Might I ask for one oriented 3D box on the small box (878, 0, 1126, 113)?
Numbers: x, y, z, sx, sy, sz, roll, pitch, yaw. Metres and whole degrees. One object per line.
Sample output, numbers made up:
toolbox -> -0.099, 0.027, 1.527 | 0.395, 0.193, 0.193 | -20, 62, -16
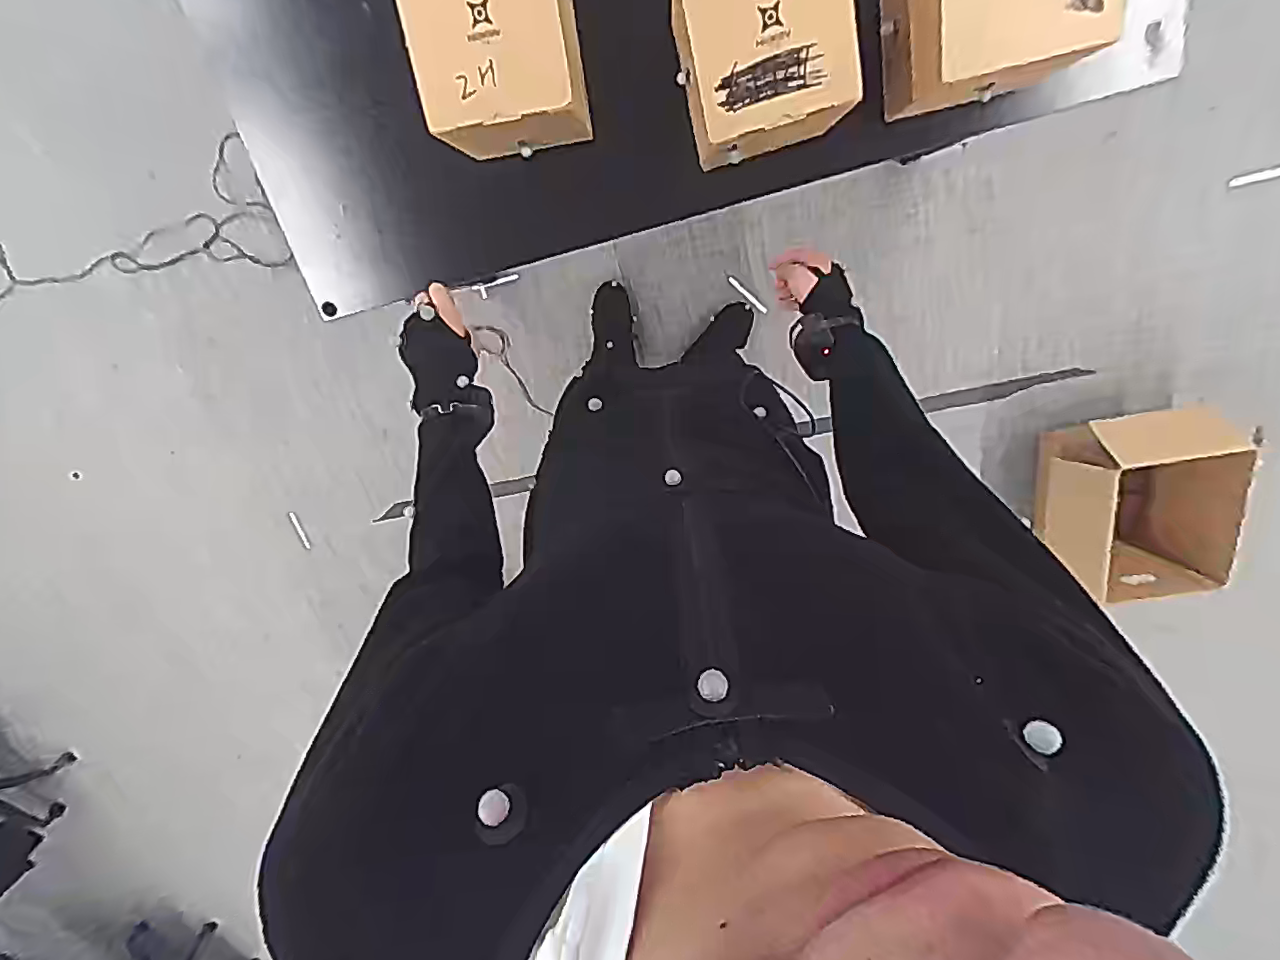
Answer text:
small box -> 0.378, -0.530, 0.586 | 0.179, 0.176, 0.168 | -10, 111, 8

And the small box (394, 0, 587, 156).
small box -> -0.163, -0.500, 0.625 | 0.168, 0.176, 0.179 | -7, 112, 6
